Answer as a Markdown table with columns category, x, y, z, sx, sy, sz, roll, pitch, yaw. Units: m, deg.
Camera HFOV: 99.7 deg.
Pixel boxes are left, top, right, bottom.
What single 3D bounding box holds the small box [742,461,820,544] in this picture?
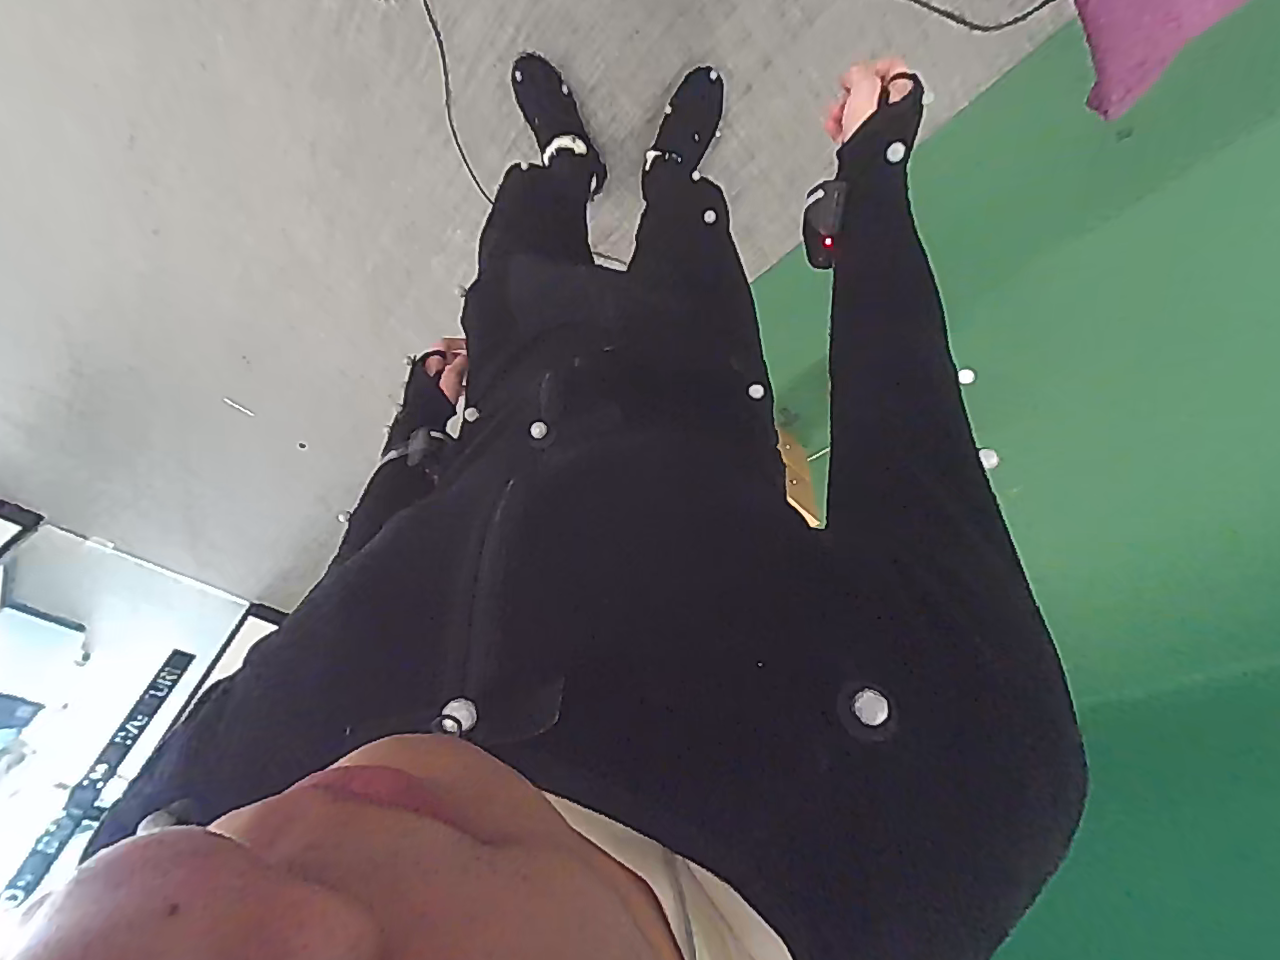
| category | x | y | z | sx | sy | sz | roll | pitch | yaw |
| --- | --- | --- | --- | --- | --- | --- | --- | --- | --- |
| small box | 0.433 | 0.064 | 1.691 | 0.179 | 0.176 | 0.168 | 36 | 129 | -26 |
